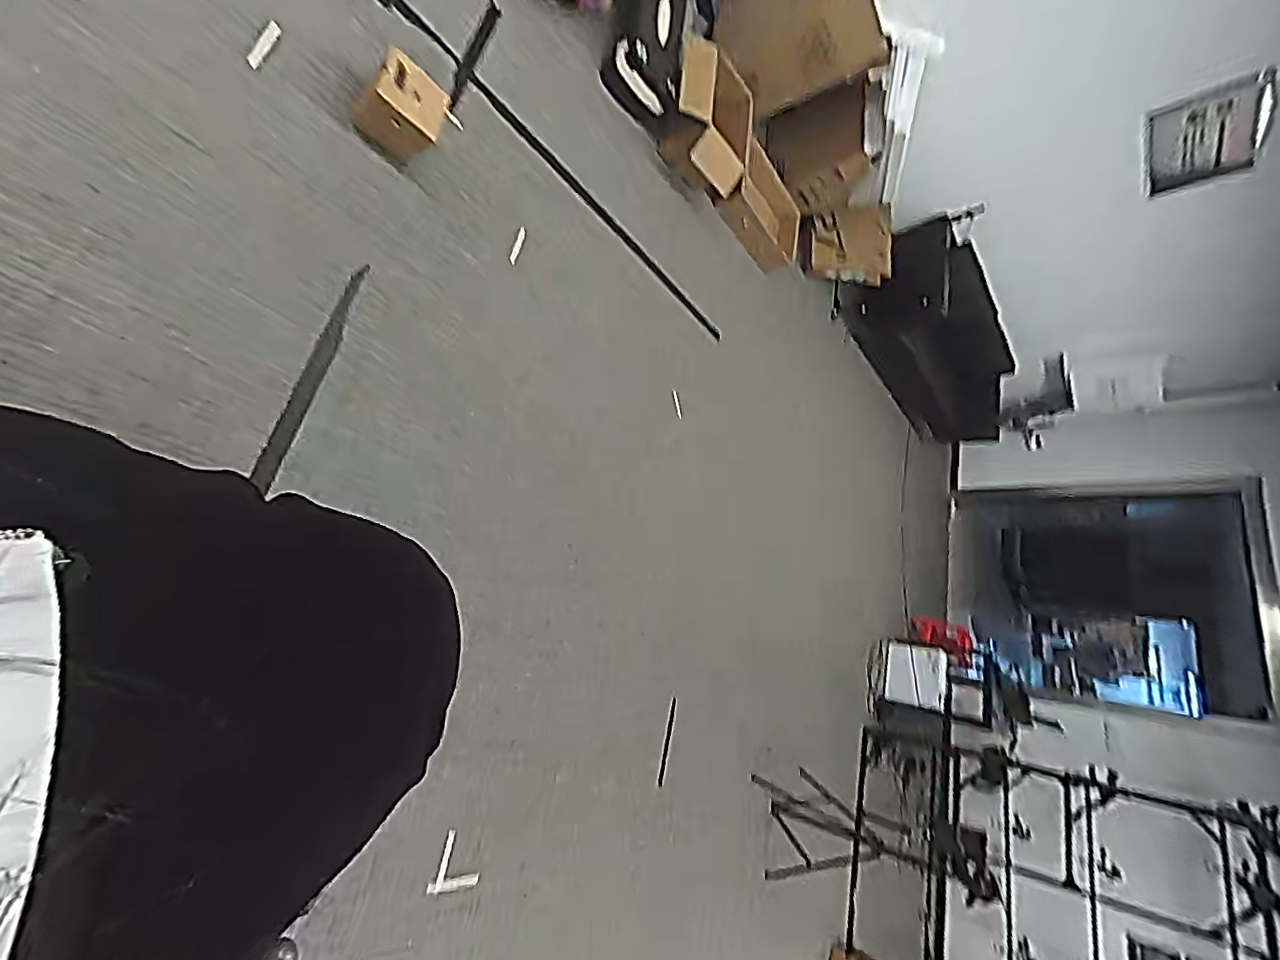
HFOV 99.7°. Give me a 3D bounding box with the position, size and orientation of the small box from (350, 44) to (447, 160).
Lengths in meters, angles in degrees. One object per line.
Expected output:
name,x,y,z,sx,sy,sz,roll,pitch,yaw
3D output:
small box,-0.681,-1.049,1.520,0.179,0.176,0.168,27,68,-46
